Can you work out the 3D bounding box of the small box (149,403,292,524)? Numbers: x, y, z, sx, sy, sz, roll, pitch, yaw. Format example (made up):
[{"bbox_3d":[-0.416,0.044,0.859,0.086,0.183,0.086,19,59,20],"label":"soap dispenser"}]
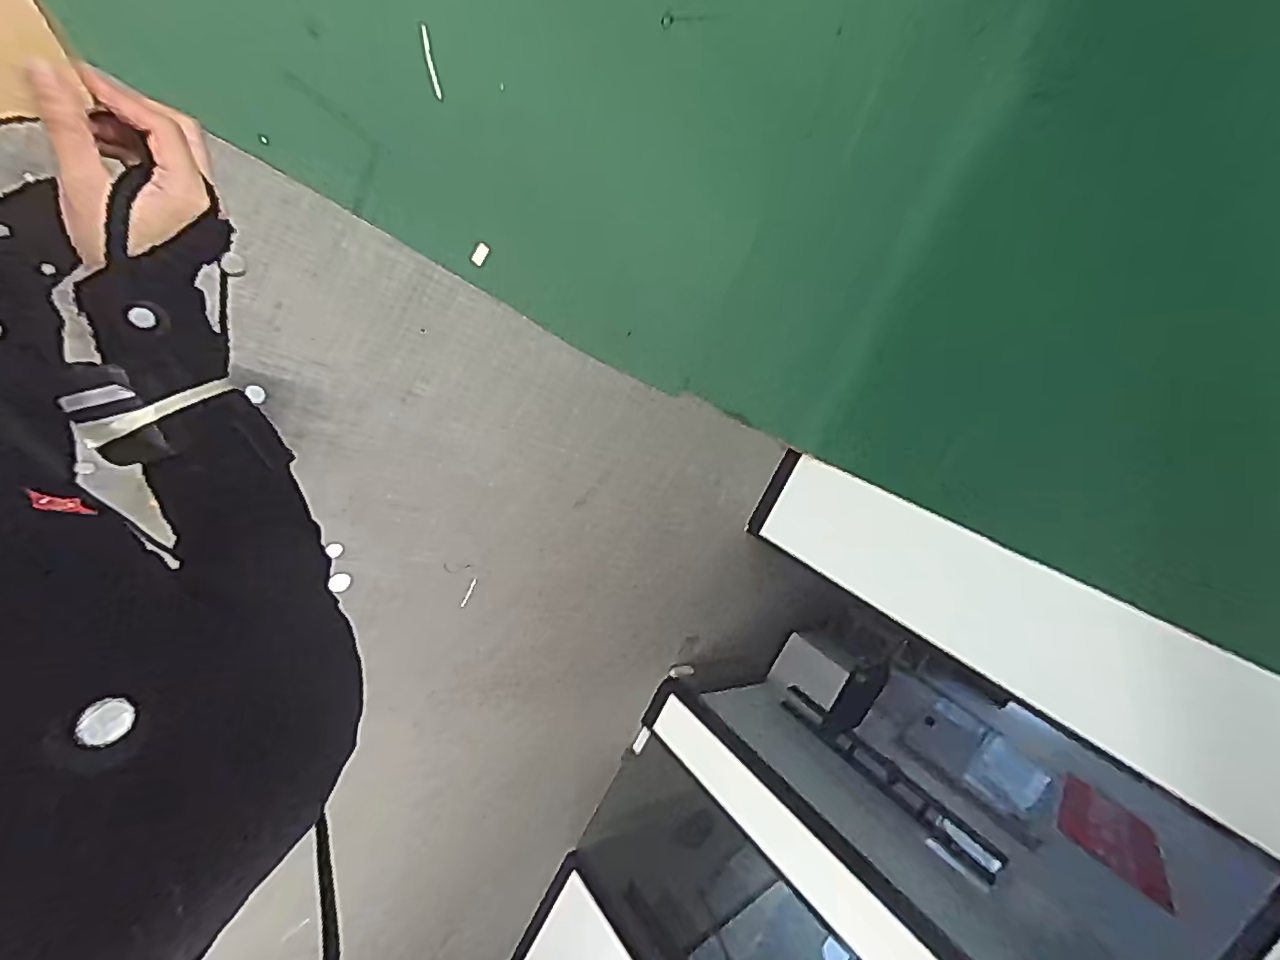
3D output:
[{"bbox_3d":[-0.848,-0.035,1.092,0.179,0.176,0.168,25,97,-49],"label":"small box"}]
